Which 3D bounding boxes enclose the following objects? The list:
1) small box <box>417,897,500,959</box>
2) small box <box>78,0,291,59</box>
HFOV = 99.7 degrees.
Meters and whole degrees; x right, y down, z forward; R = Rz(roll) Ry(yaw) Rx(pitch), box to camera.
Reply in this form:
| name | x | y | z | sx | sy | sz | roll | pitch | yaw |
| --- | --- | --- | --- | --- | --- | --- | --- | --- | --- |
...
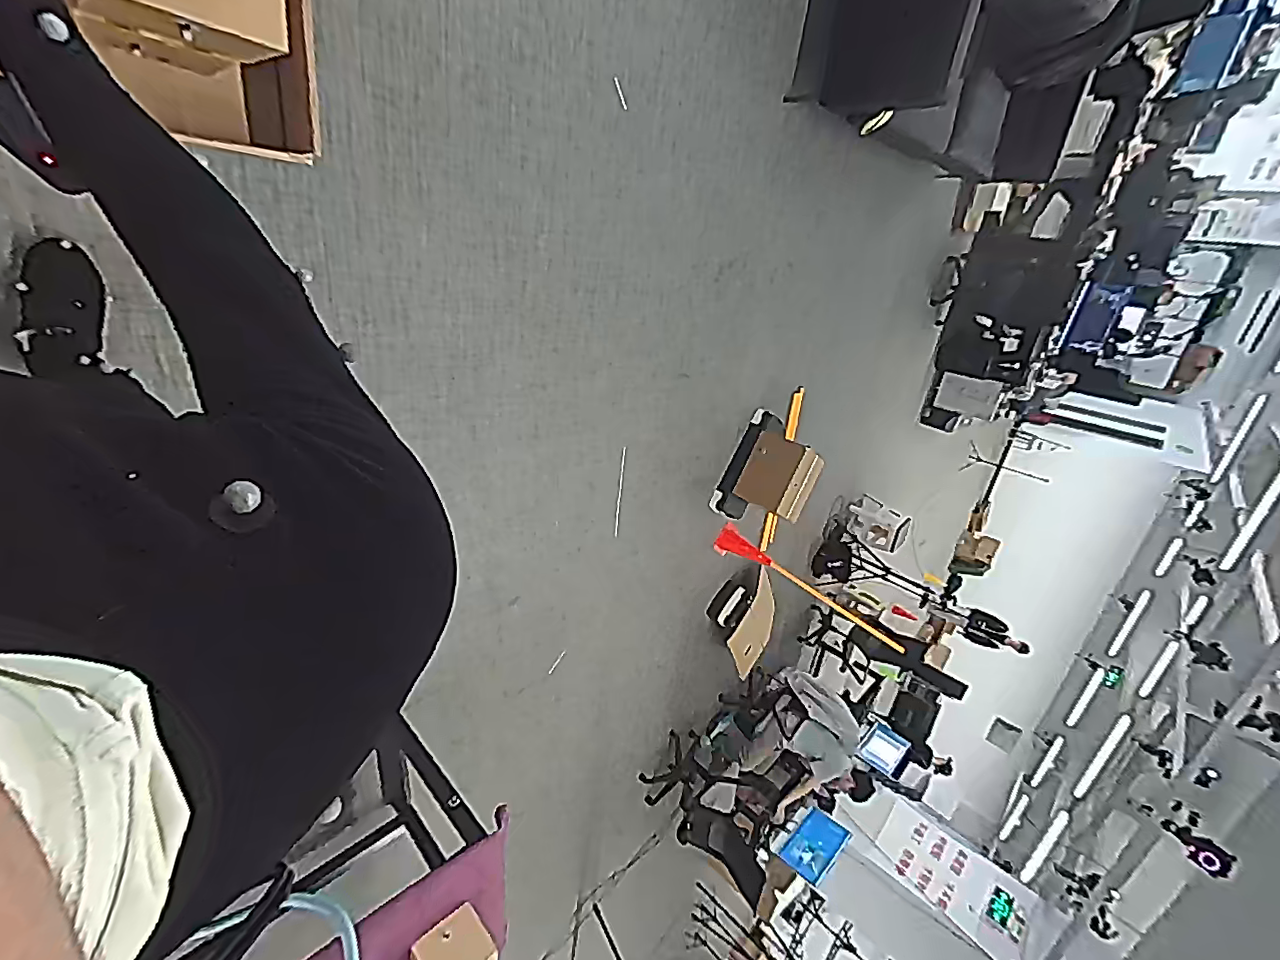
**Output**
| name | x | y | z | sx | sy | sz | roll | pitch | yaw |
| --- | --- | --- | --- | --- | --- | --- | --- | --- | --- |
| small box | -0.518 | 1.351 | 1.529 | 0.179 | 0.176 | 0.168 | -16 | 123 | -44 |
| small box | -0.522 | -0.602 | 0.606 | 0.179 | 0.176 | 0.168 | -15 | 123 | -47 |
